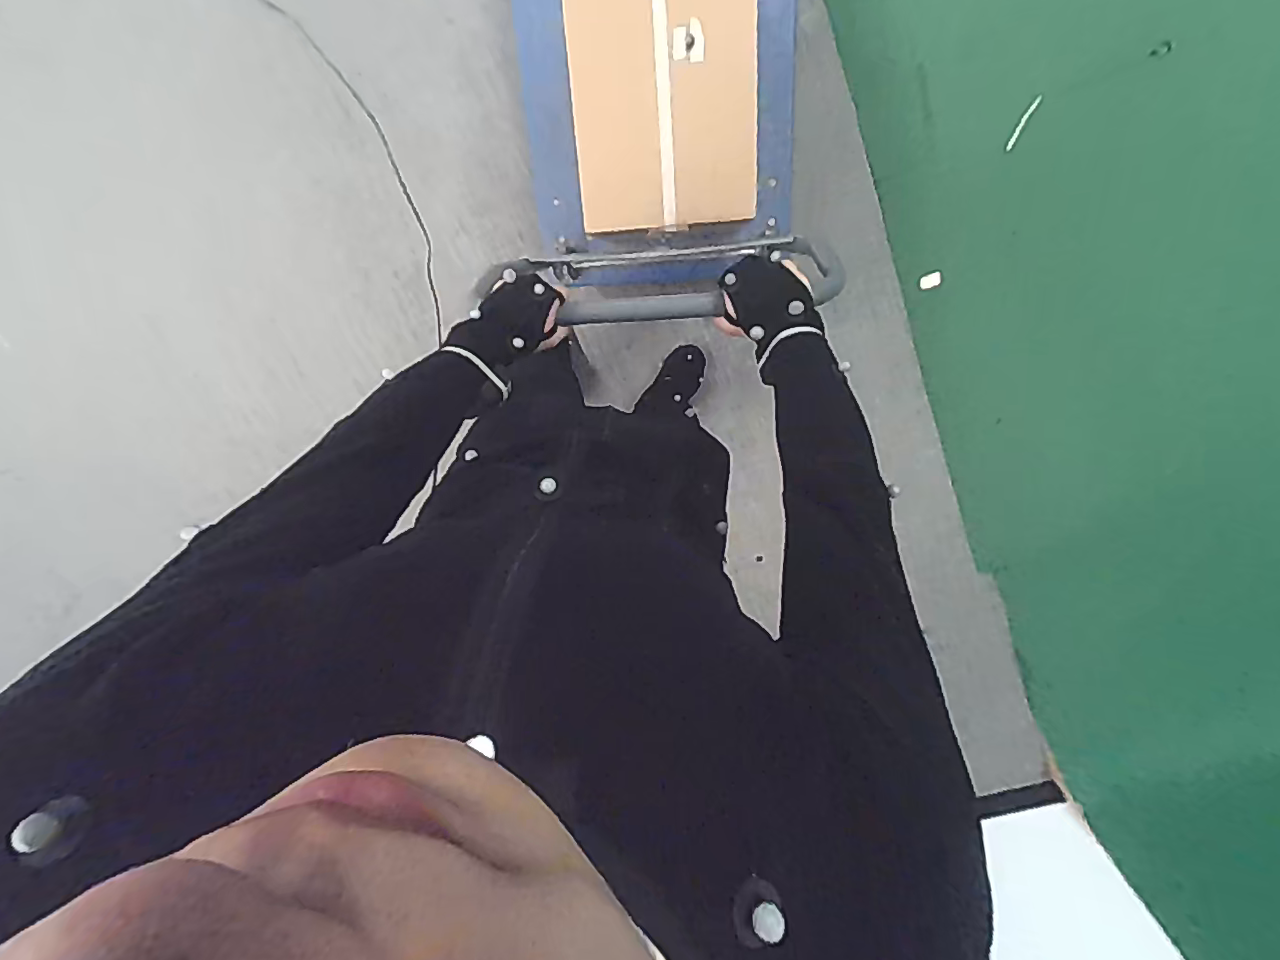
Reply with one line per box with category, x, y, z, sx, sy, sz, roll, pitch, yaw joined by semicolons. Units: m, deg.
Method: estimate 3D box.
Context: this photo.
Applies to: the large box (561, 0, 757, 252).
large box;0.052;-0.685;1.058;0.320;0.320;0.408;-3;109;5
